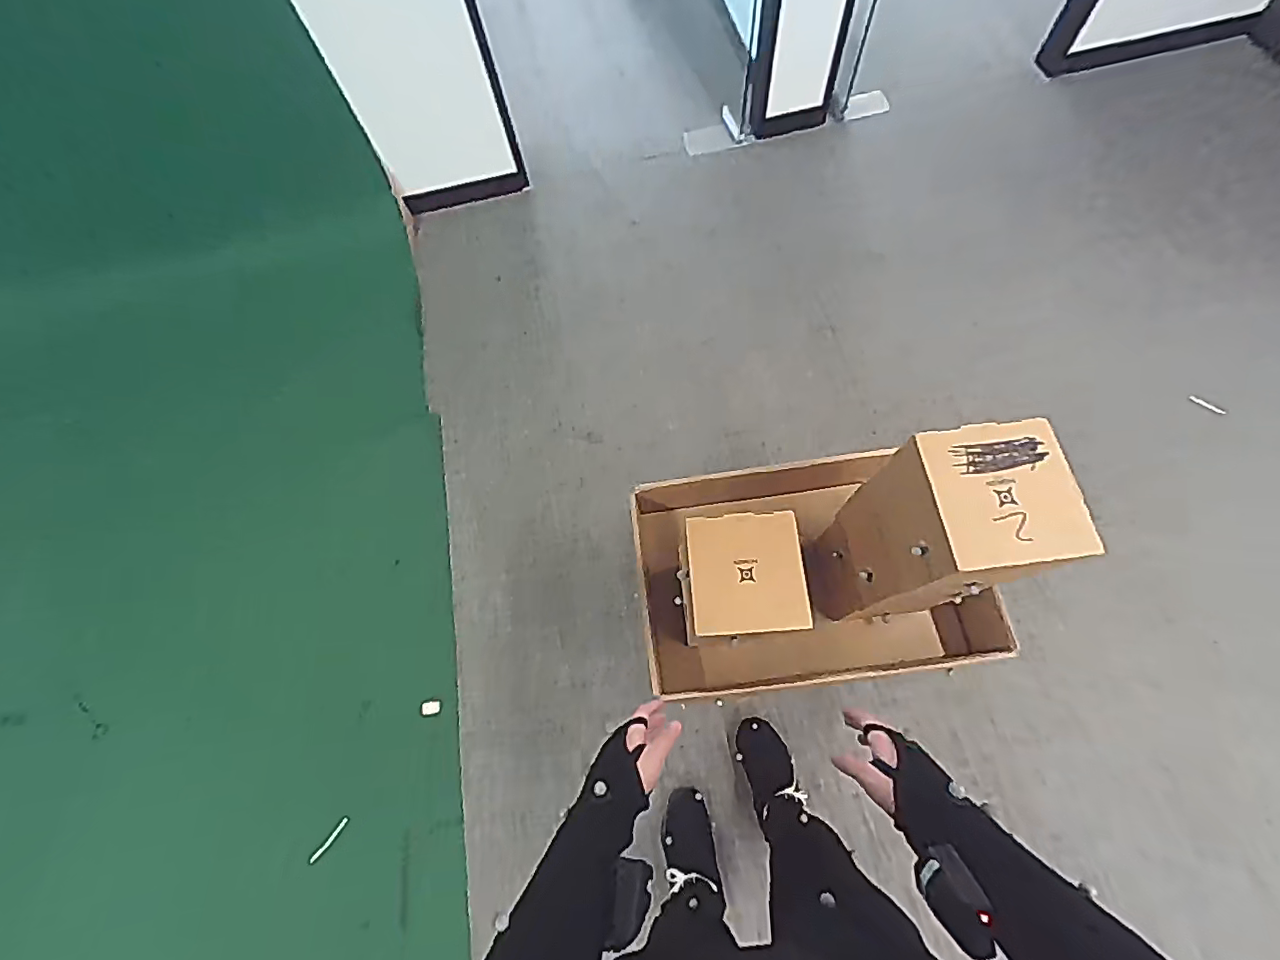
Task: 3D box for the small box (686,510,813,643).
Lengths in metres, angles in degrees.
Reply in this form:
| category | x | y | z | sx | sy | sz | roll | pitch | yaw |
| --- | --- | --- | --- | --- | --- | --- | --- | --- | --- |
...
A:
| category | x | y | z | sx | sy | sz | roll | pitch | yaw |
| --- | --- | --- | --- | --- | --- | --- | --- | --- | --- |
| small box | 0.163 | 0.160 | 0.854 | 0.168 | 0.176 | 0.179 | -5 | 68 | 3 |

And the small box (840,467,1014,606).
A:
| category | x | y | z | sx | sy | sz | roll | pitch | yaw |
| --- | --- | --- | --- | --- | --- | --- | --- | --- | --- |
| small box | 0.436 | 0.099 | 0.854 | 0.168 | 0.176 | 0.179 | -7 | 68 | 1 |
